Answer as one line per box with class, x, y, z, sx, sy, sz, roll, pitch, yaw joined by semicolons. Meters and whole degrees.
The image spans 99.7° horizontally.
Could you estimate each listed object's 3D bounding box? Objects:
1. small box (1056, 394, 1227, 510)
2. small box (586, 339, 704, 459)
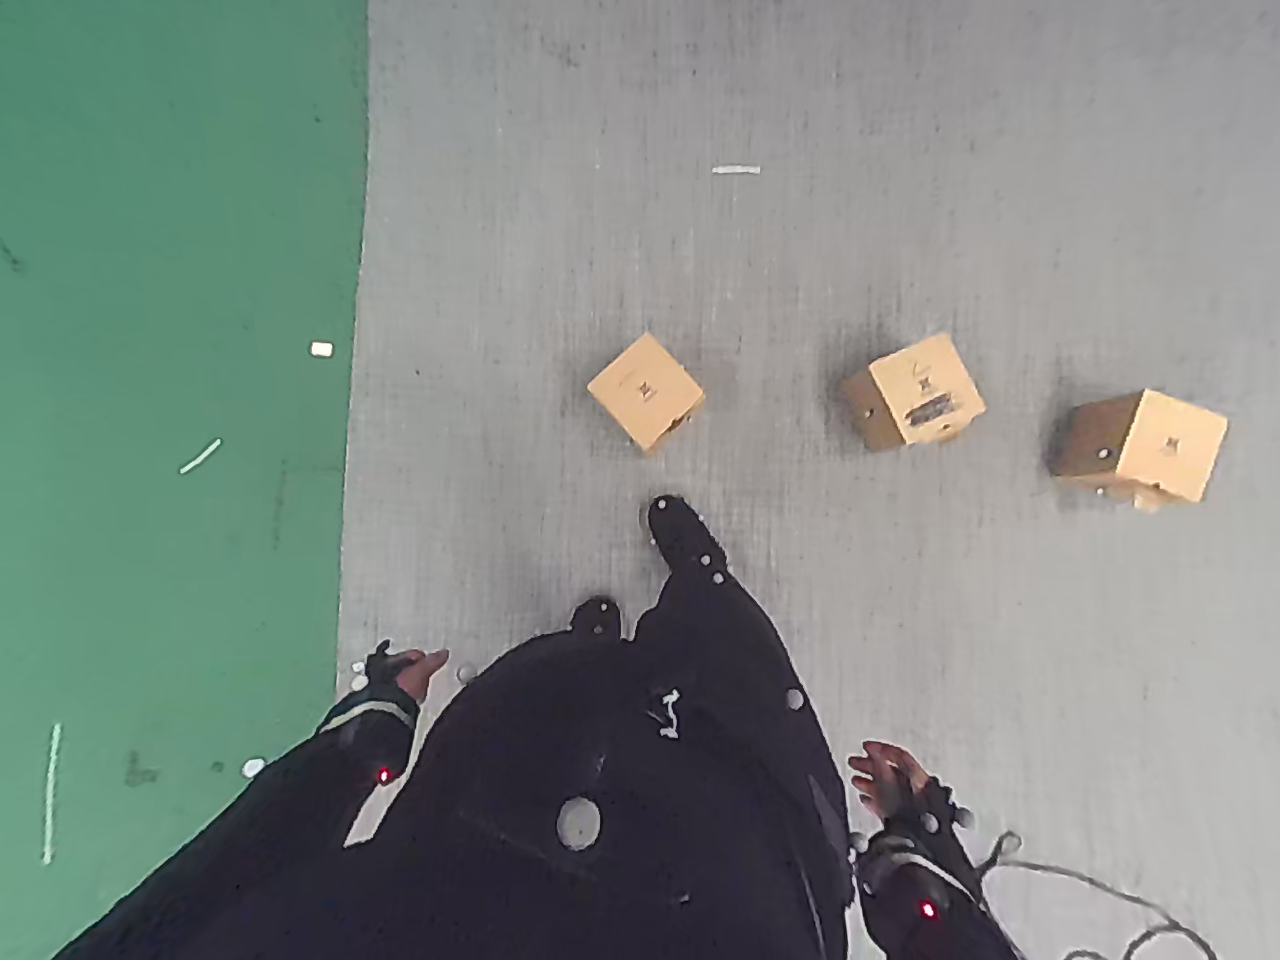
small box;0.995;-0.049;1.091;0.168;0.176;0.179;21;88;3
small box;0.013;-0.157;1.132;0.168;0.176;0.179;-42;85;-2
